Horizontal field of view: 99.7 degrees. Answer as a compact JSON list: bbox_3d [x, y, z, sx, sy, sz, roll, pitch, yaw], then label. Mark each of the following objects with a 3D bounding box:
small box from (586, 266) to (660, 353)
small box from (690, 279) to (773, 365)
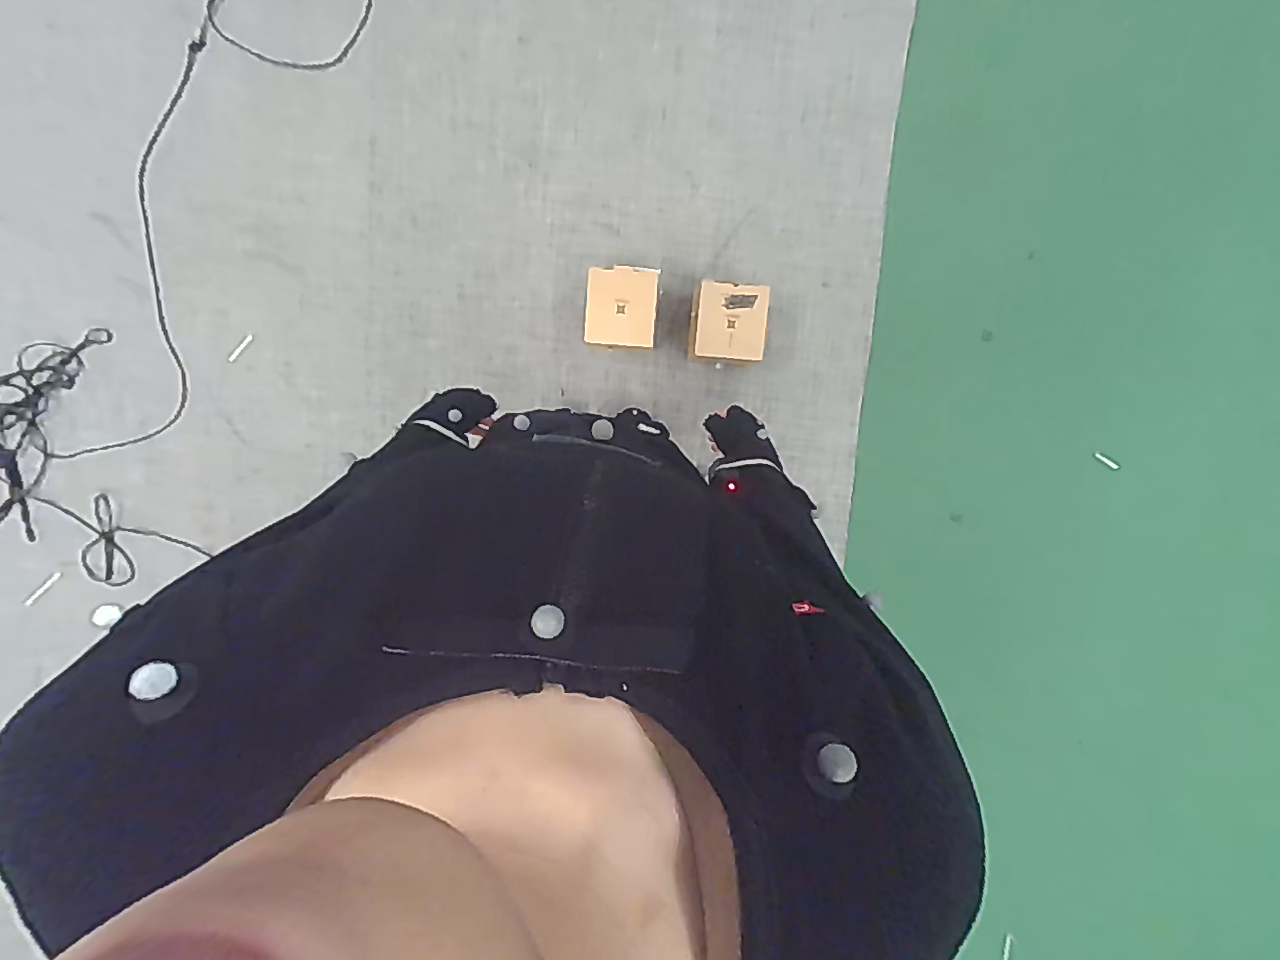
[{"bbox_3d":[-0.040,-0.415,1.344,0.168,0.176,0.179,4,97,-2],"label":"small box"},{"bbox_3d":[0.221,-0.388,1.351,0.168,0.176,0.179,5,98,-2],"label":"small box"}]
